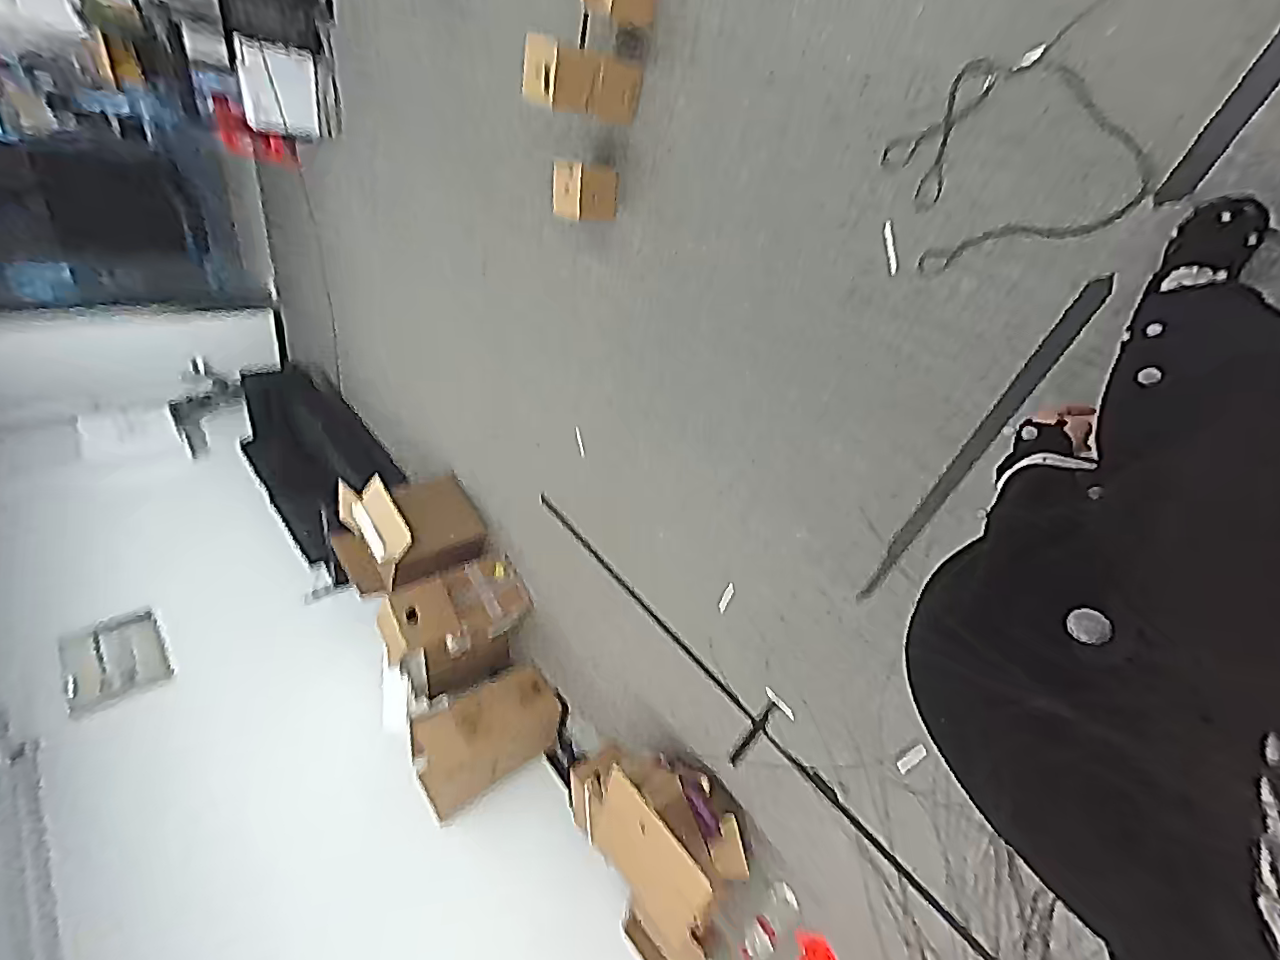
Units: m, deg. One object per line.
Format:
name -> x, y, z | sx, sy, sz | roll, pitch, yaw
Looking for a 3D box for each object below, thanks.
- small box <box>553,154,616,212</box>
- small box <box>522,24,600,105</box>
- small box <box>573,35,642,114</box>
small box -> -0.205, -1.097, 2.002 | 0.168, 0.176, 0.179 | 30, 128, 37
small box -> -0.249, -1.303, 1.703 | 0.179, 0.176, 0.168 | 42, 133, 30
small box -> -0.124, -1.344, 1.801 | 0.179, 0.176, 0.168 | 44, 135, 27
